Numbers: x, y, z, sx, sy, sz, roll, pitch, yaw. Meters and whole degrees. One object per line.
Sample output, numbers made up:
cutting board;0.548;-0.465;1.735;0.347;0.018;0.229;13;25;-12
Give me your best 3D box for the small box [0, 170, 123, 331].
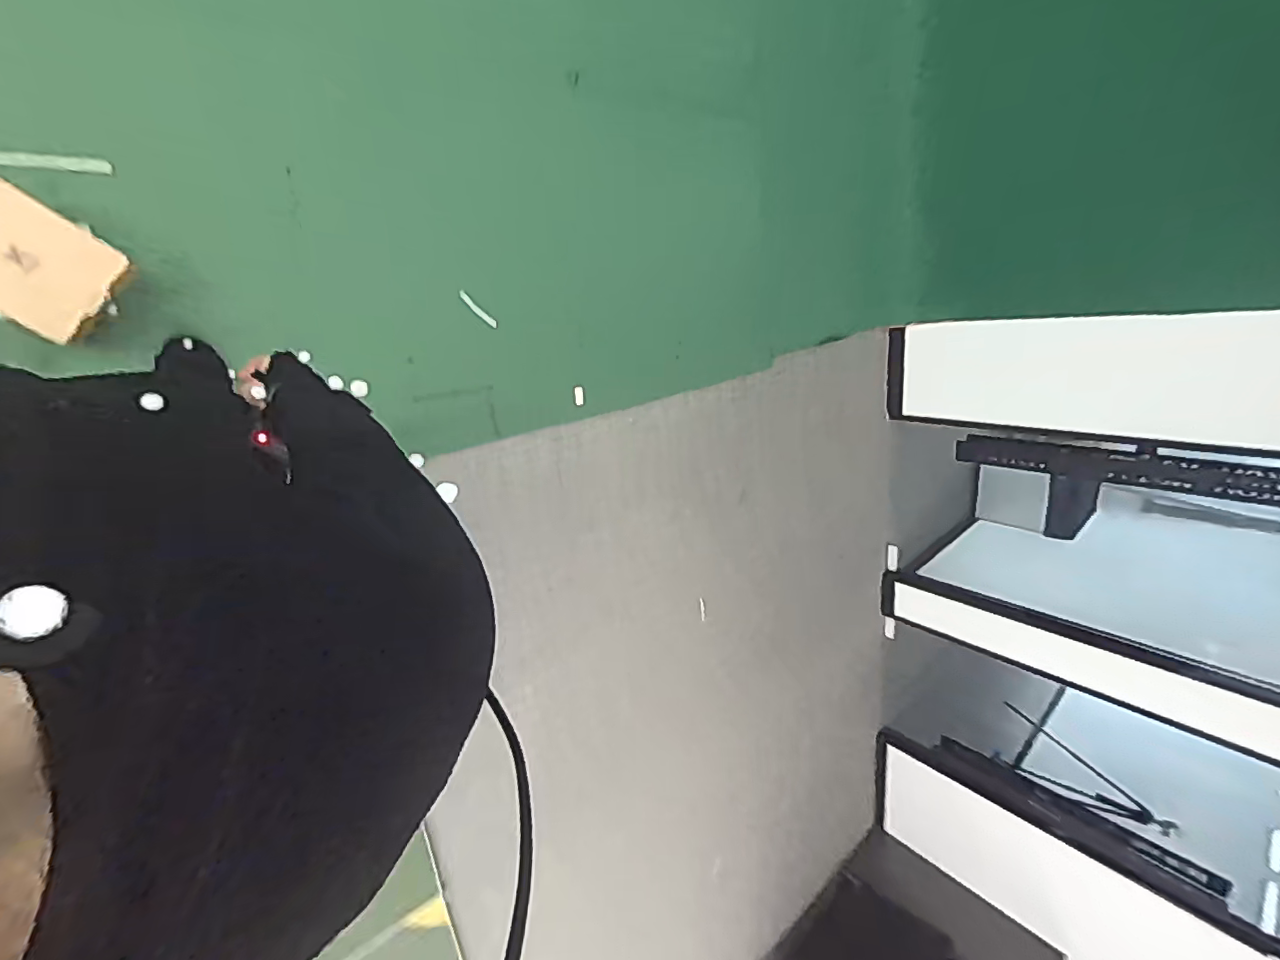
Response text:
small box;-0.945;-0.351;0.829;0.179;0.176;0.168;39;76;-41
